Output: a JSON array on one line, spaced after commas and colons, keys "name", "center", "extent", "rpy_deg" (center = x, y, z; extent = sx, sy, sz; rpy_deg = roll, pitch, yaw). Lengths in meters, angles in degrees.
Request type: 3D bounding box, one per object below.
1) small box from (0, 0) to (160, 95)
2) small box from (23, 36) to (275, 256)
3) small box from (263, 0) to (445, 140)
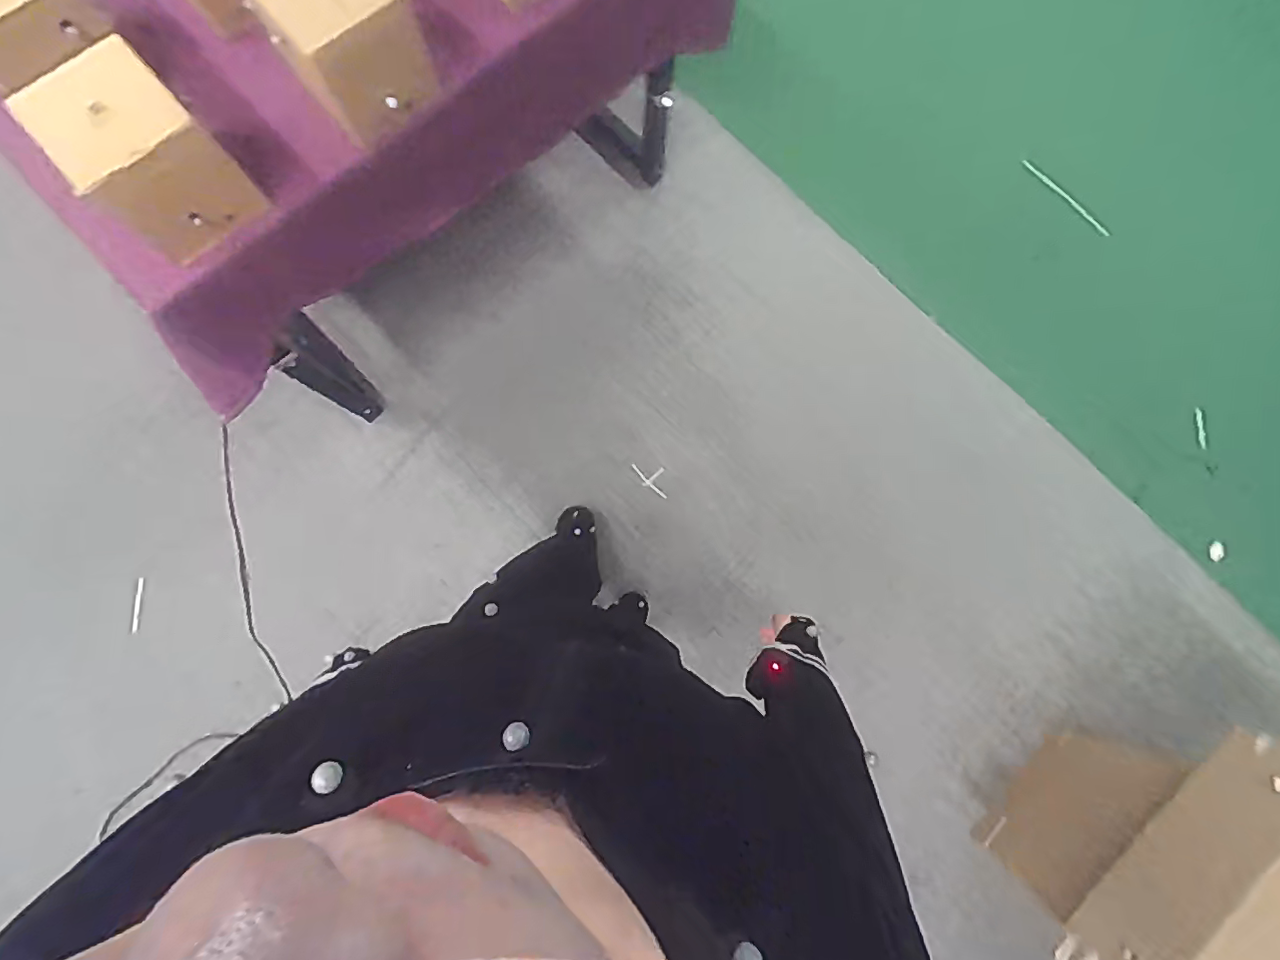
[{"name": "small box", "center": [-0.877, -0.670, 0.811], "extent": [0.179, 0.176, 0.168], "rpy_deg": [-41, 84, -8]}, {"name": "small box", "center": [-0.693, -0.471, 0.786], "extent": [0.168, 0.176, 0.179], "rpy_deg": [-42, 85, -8]}, {"name": "small box", "center": [-0.435, -0.676, 0.826], "extent": [0.168, 0.176, 0.179], "rpy_deg": [-41, 84, -7]}]
